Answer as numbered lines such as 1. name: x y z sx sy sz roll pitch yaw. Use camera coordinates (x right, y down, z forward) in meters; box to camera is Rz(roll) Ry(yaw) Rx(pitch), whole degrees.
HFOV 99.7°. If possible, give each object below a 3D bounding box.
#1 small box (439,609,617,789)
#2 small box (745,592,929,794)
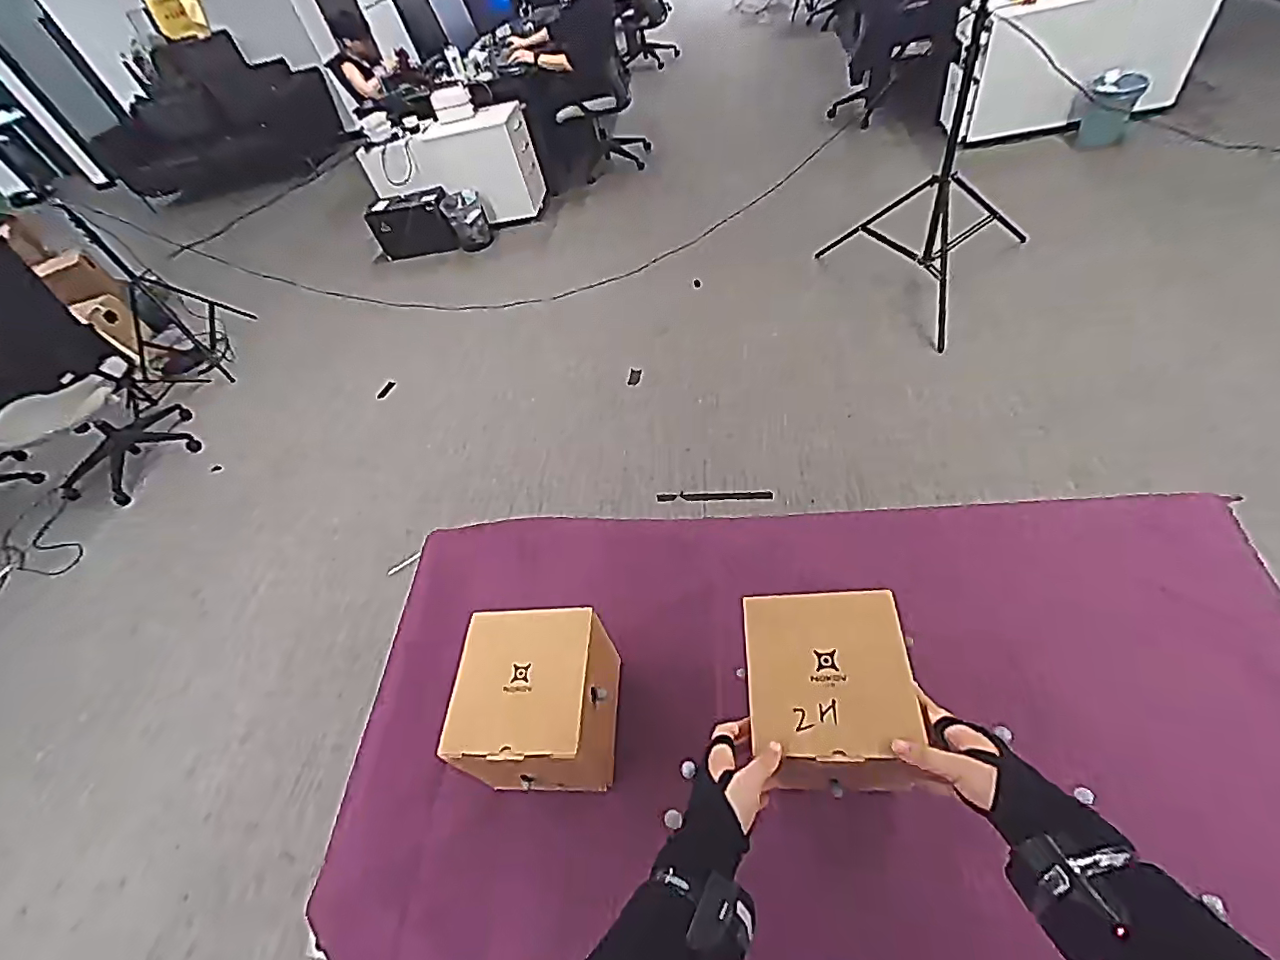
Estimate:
1. small box: -0.128 0.285 0.704 0.168 0.176 0.179 -5 51 10
2. small box: 0.214 0.249 0.630 0.168 0.176 0.179 -6 51 13
